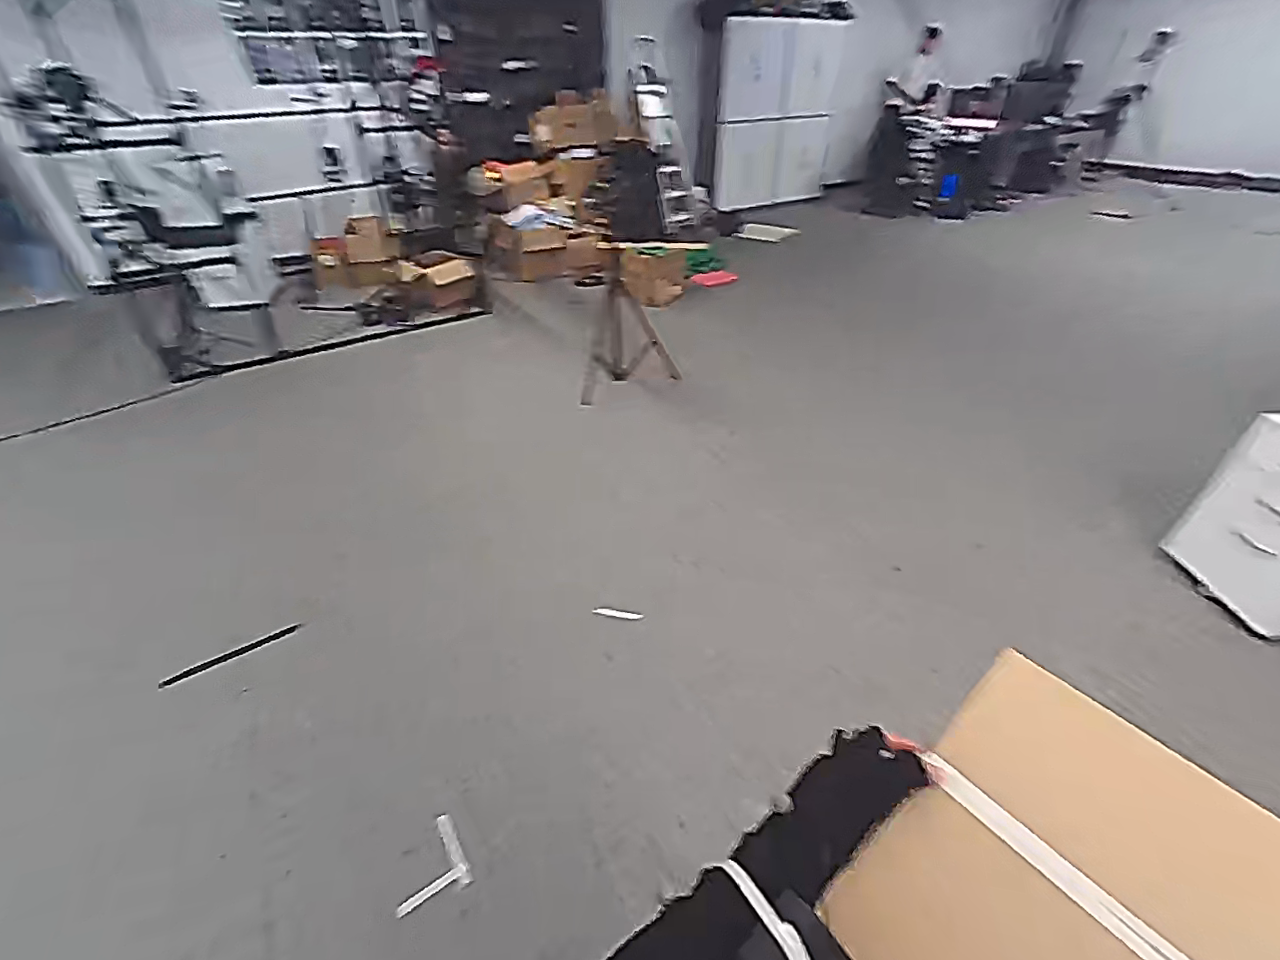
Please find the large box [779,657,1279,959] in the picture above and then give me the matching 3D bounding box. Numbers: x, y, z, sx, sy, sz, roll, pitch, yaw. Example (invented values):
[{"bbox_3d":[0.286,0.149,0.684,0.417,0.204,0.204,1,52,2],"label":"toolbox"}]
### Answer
[{"bbox_3d":[0.386,0.449,0.466,0.320,0.320,0.408,-33,50,-25],"label":"large box"}]
